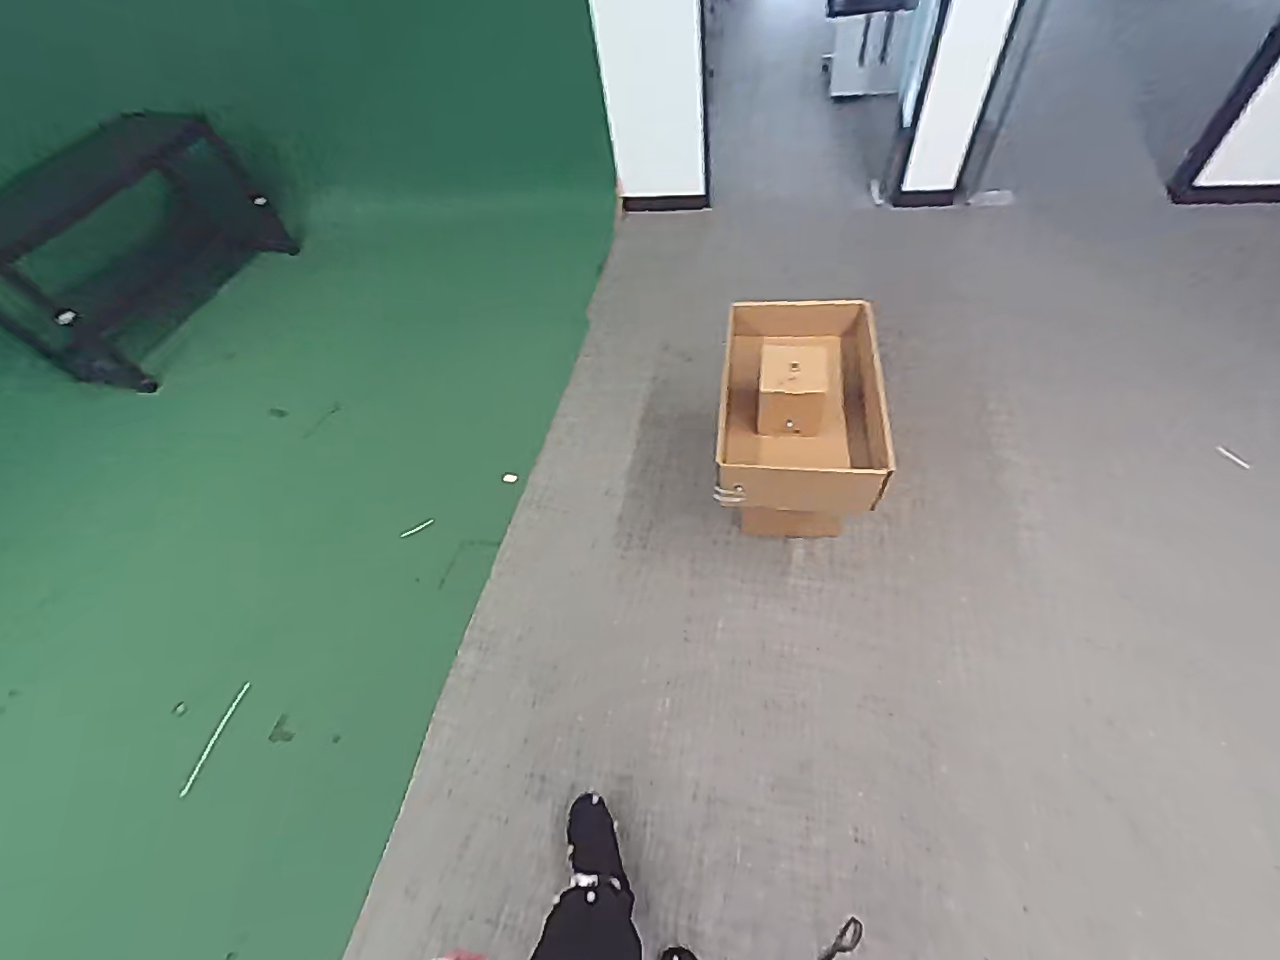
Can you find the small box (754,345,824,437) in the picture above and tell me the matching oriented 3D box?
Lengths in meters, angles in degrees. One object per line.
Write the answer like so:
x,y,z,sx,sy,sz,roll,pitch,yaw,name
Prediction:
0.394,-0.238,1.445,0.168,0.176,0.179,3,55,11,small box
